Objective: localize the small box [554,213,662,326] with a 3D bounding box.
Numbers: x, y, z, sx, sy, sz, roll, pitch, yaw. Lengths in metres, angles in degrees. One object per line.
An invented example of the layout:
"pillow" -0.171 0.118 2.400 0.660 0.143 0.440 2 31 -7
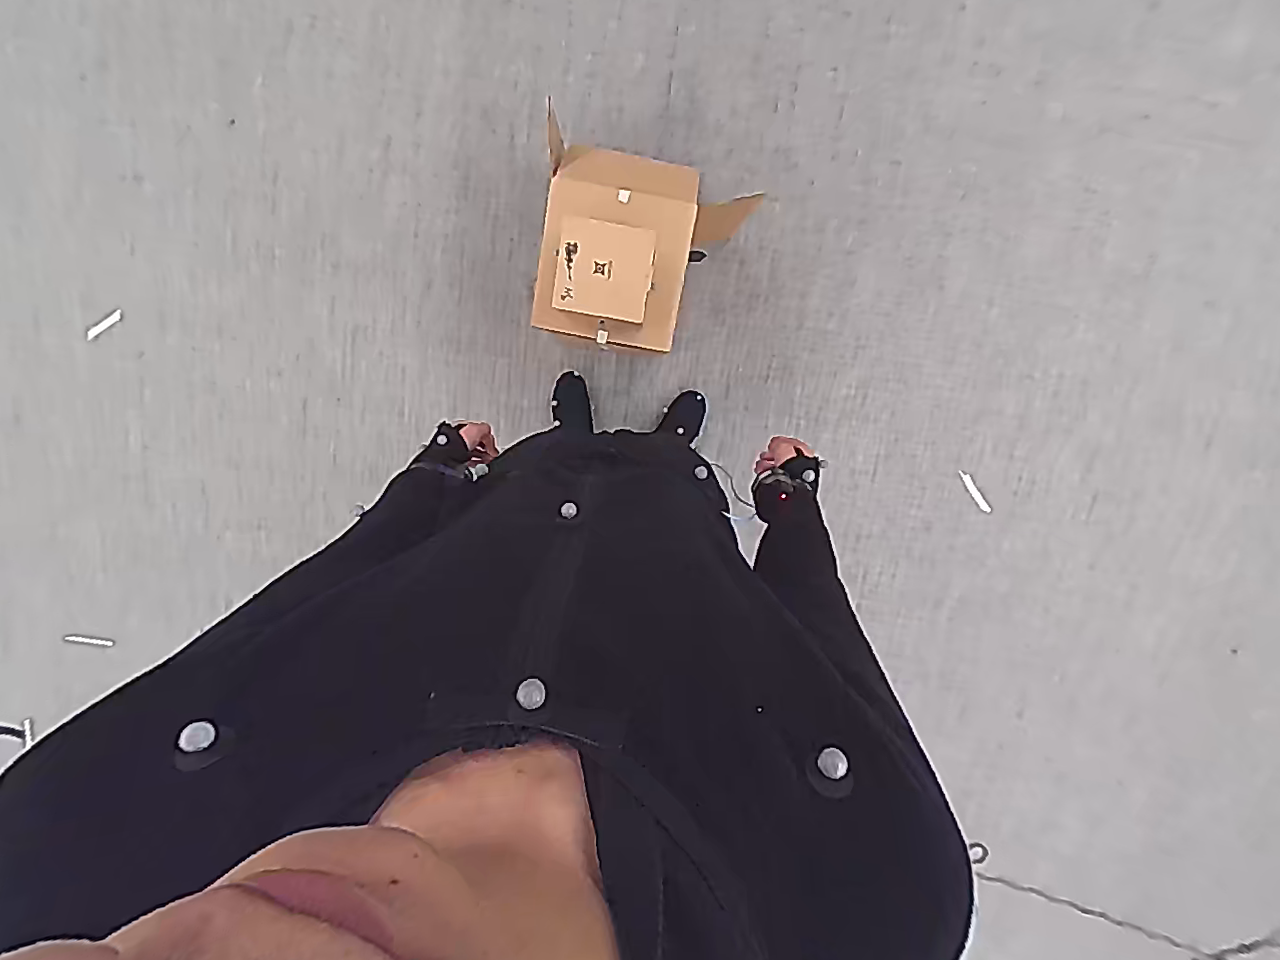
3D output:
"small box" -0.060 -0.402 1.061 0.179 0.176 0.168 10 102 -2
